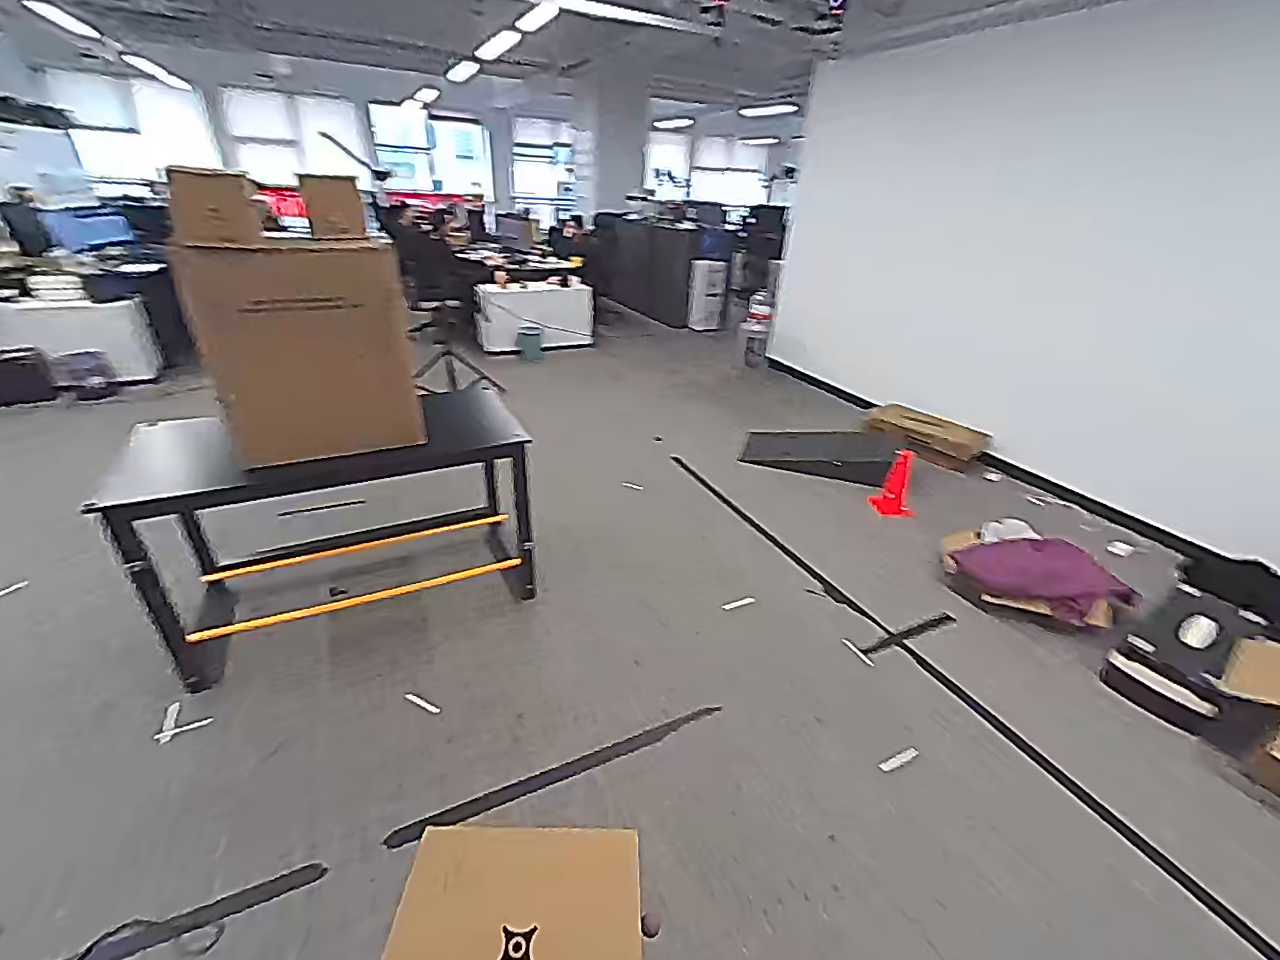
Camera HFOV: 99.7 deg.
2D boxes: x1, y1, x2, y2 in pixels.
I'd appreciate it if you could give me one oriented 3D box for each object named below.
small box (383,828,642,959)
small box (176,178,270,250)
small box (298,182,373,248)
[{"bbox_3d":[-0.085,0.378,0.371,0.168,0.176,0.179,1,23,-4],"label":"small box"},{"bbox_3d":[-1.169,-0.753,1.532,0.168,0.176,0.179,-12,31,-26],"label":"small box"},{"bbox_3d":[-0.917,-0.798,1.630,0.168,0.176,0.179,-14,32,-26],"label":"small box"}]
